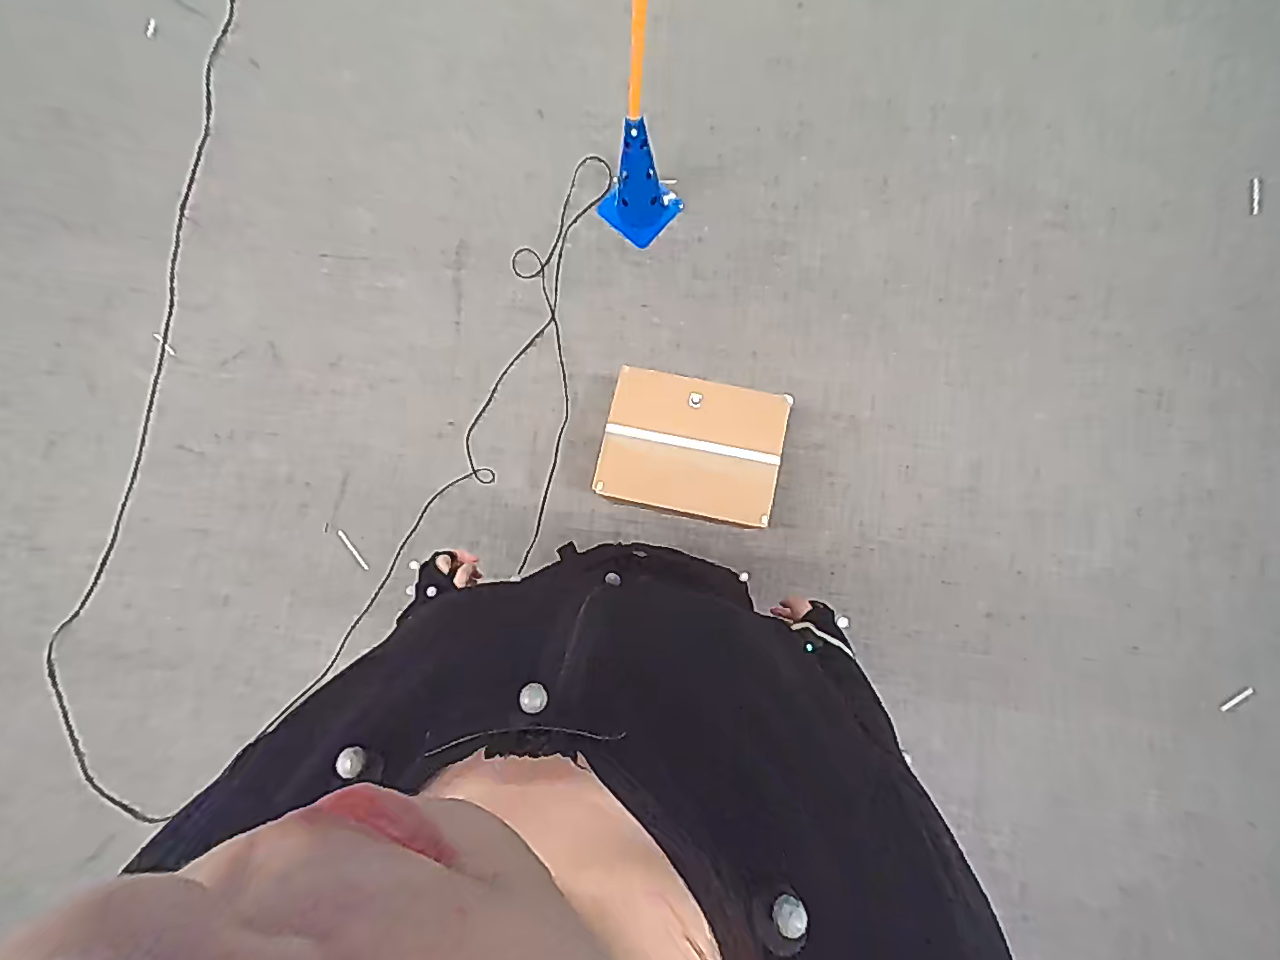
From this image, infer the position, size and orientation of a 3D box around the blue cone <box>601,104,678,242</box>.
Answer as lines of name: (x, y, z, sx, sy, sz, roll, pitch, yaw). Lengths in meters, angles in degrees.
blue cone: (-0.005, -0.844, 1.444, 0.192, 0.380, 0.193, 40, 85, 5)
